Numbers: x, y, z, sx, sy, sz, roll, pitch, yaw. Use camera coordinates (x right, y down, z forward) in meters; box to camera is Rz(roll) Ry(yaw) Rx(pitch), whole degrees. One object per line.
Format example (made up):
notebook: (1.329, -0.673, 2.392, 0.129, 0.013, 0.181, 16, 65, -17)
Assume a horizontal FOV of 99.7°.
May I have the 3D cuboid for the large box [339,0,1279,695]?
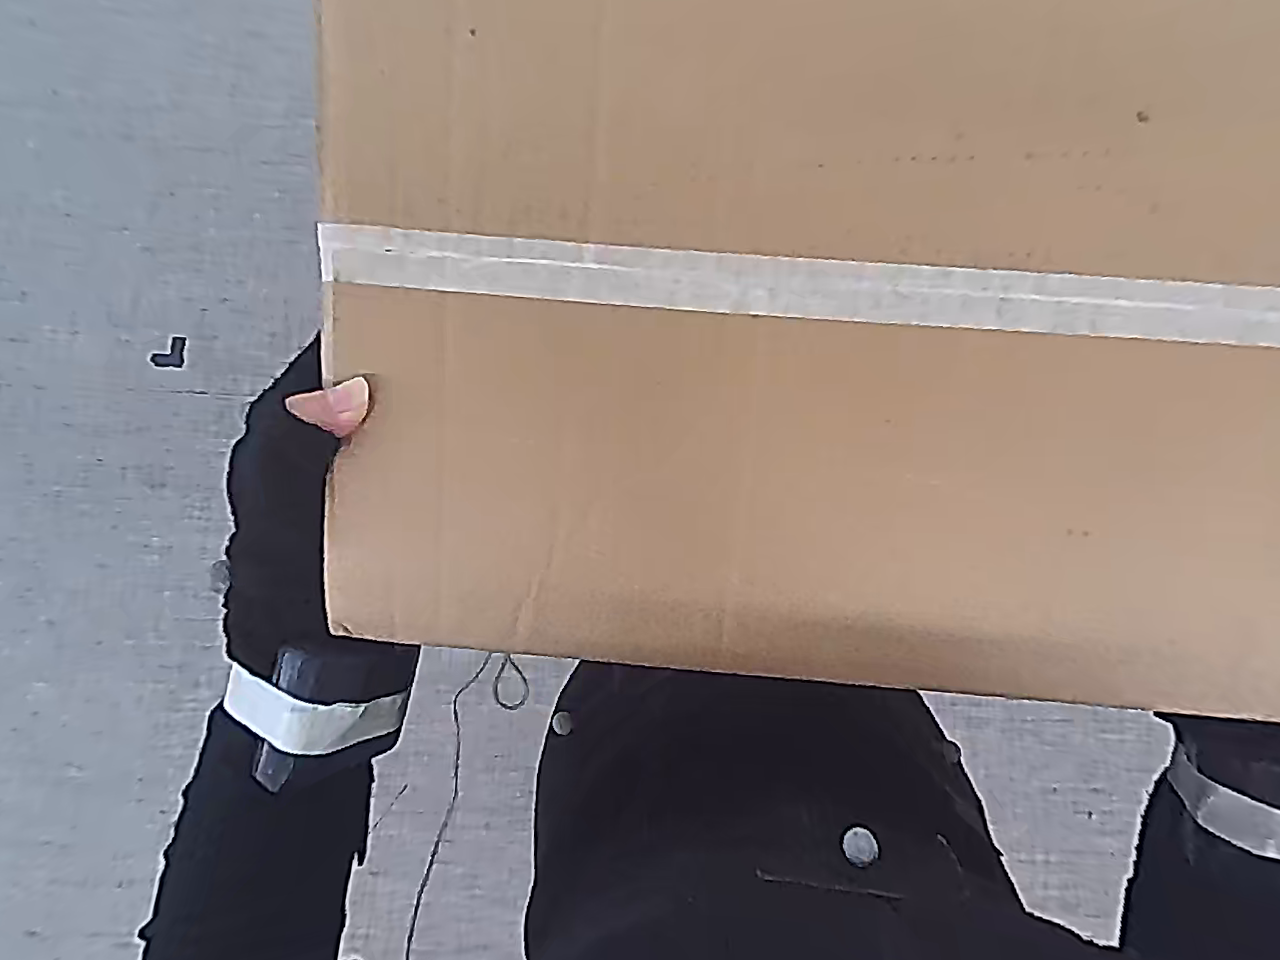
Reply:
large box: (0.085, -0.091, 0.361, 0.408, 0.320, 0.320, 4, 98, 1)
